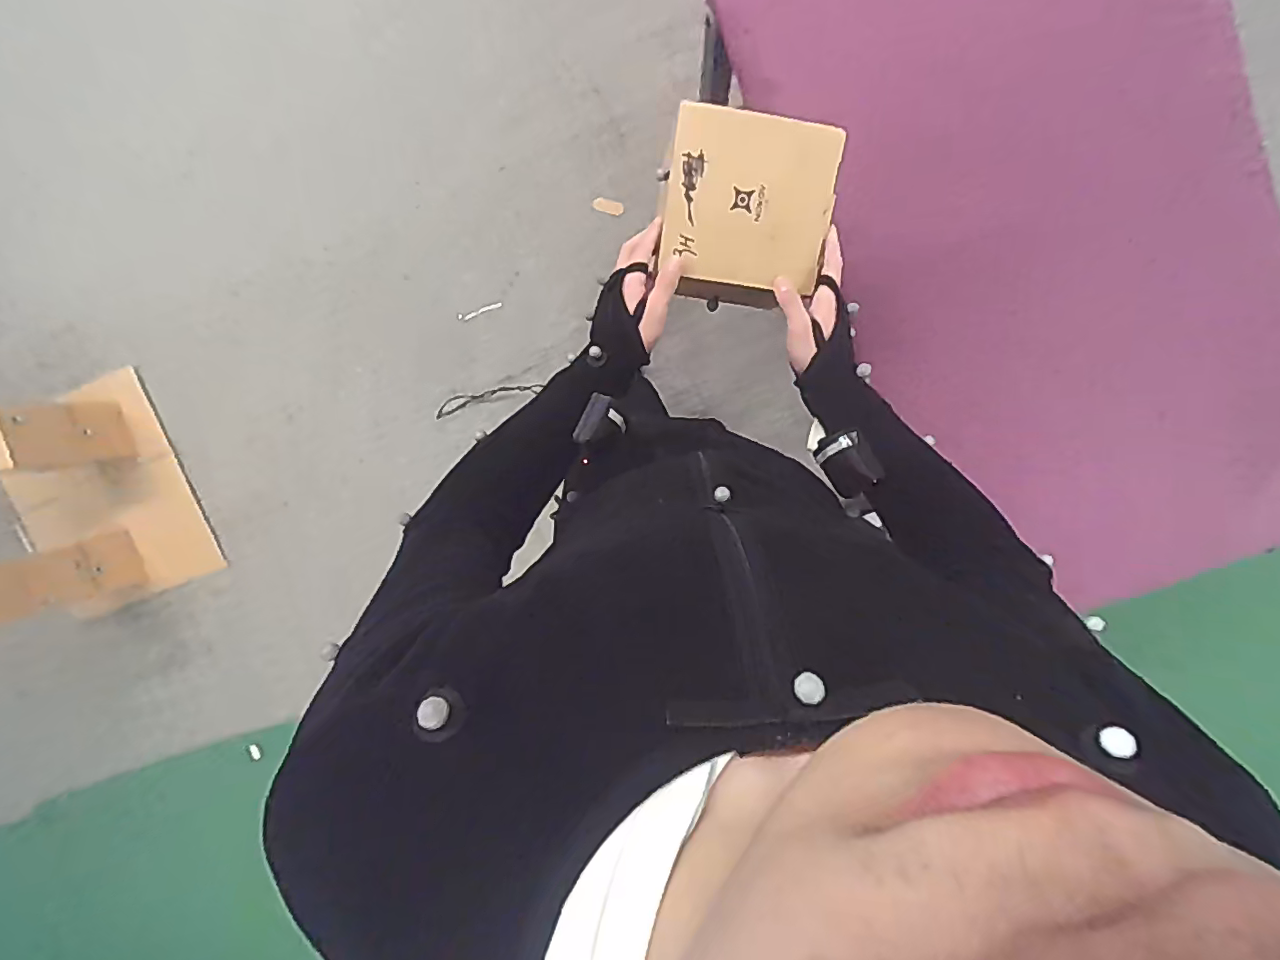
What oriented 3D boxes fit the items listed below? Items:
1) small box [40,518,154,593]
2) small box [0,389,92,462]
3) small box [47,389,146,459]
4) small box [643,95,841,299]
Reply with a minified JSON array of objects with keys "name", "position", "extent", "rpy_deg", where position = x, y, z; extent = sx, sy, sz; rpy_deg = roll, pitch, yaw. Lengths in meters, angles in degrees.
[{"name":"small box","position":[-1.713,0.235,1.717],"extent":[0.168,0.176,0.179],"rpy_deg":[-15,97,7]},{"name":"small box","position":[-1.687,-0.150,1.488],"extent":[0.168,0.176,0.179],"rpy_deg":[-9,99,6]},{"name":"small box","position":[-1.682,-0.174,1.652],"extent":[0.168,0.176,0.179],"rpy_deg":[-13,98,7]},{"name":"small box","position":[0.105,-0.314,0.640],"extent":[0.179,0.176,0.168],"rpy_deg":[7,103,-5]}]
